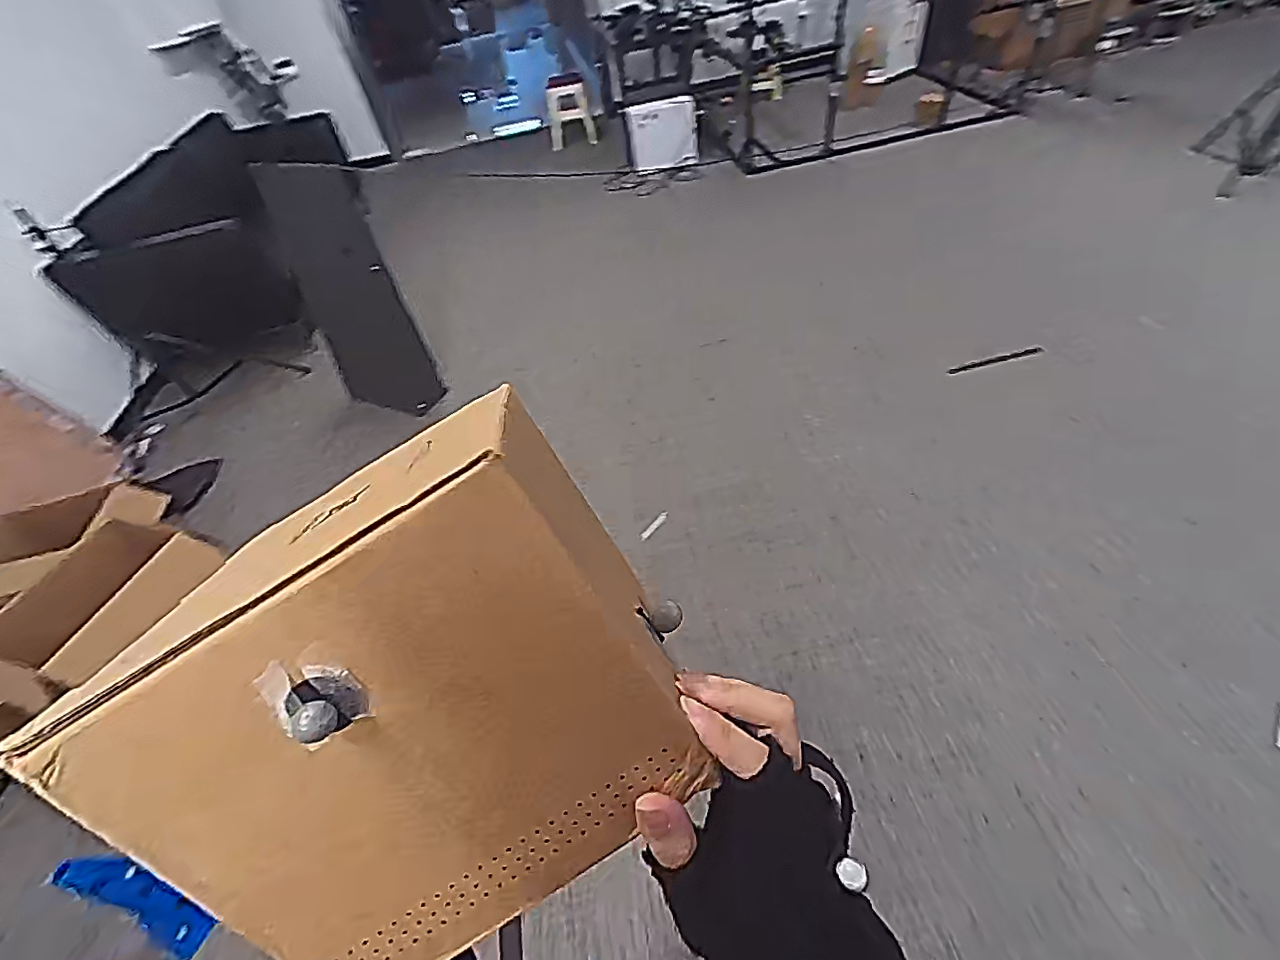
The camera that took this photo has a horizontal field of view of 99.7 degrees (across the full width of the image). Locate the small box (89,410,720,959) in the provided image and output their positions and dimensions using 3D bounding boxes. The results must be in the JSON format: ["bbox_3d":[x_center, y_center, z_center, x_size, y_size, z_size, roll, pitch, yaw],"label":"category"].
[{"bbox_3d":[-0.088,0.090,0.282,0.179,0.176,0.168,-31,21,-1],"label":"small box"}]
